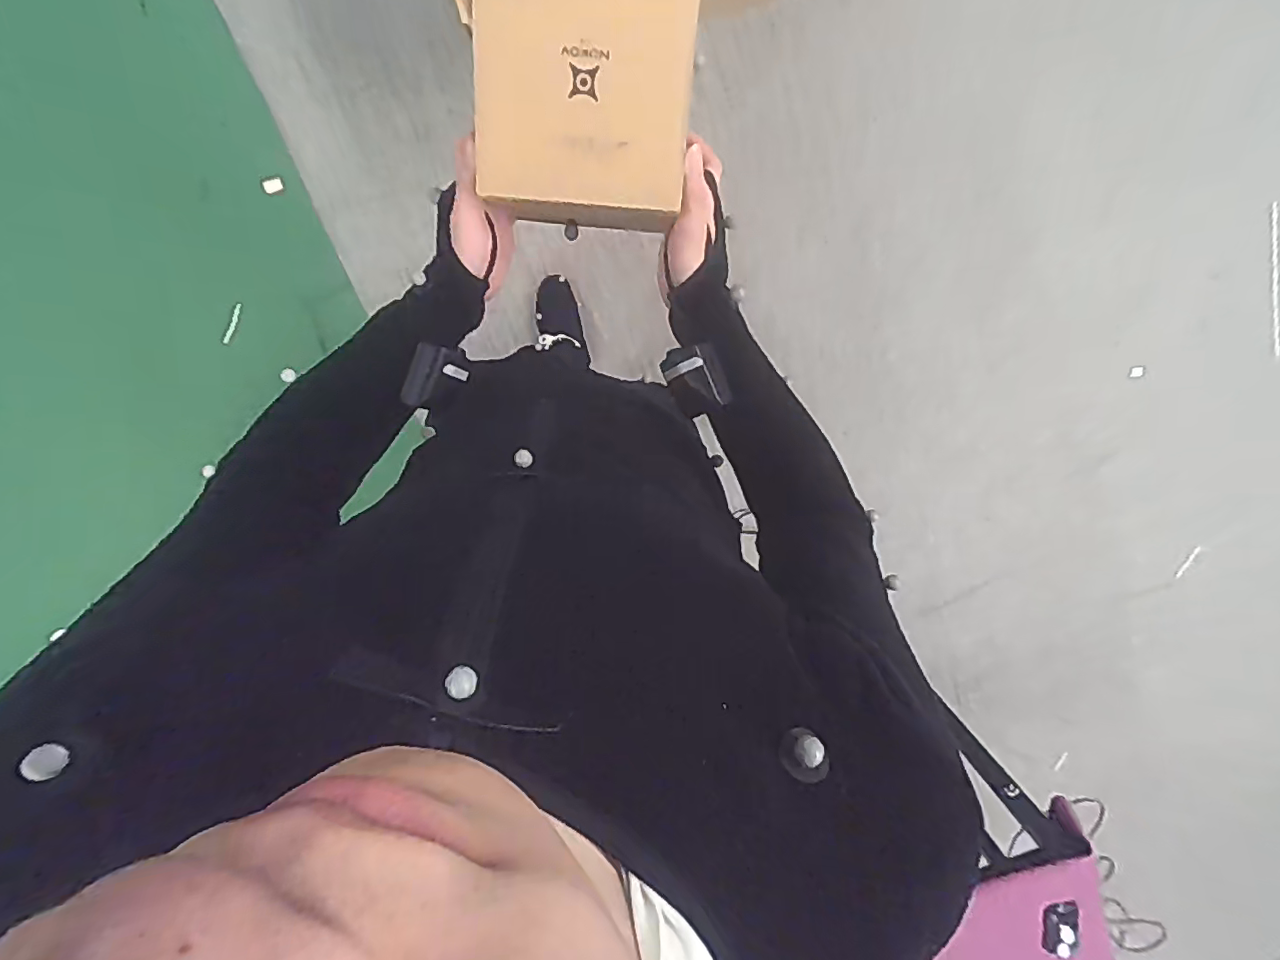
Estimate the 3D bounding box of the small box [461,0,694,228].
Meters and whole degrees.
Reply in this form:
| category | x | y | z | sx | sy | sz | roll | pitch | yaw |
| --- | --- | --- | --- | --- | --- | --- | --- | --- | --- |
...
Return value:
| category | x | y | z | sx | sy | sz | roll | pitch | yaw |
| --- | --- | --- | --- | --- | --- | --- | --- | --- | --- |
| small box | -0.050 | -0.330 | 0.468 | 0.168 | 0.176 | 0.179 | 4 | 109 | -3 |
